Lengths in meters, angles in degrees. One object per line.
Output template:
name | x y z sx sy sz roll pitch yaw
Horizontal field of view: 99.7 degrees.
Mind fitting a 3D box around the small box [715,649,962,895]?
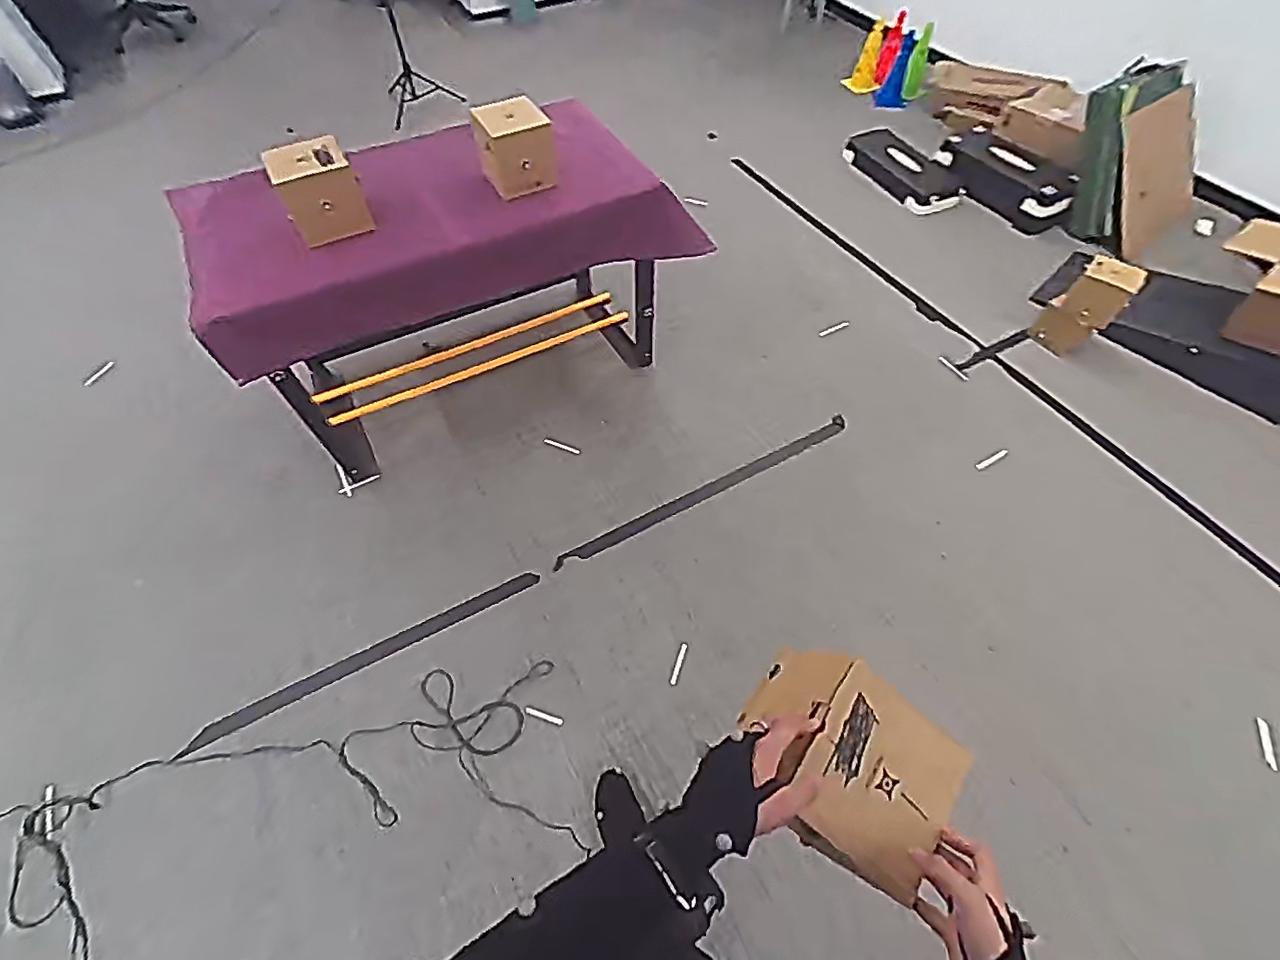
small box | 0.218 0.318 0.630 0.179 0.176 0.168 41 68 -3

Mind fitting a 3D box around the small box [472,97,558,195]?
small box | -0.338 -0.913 1.493 0.168 0.176 0.179 -25 61 -16
